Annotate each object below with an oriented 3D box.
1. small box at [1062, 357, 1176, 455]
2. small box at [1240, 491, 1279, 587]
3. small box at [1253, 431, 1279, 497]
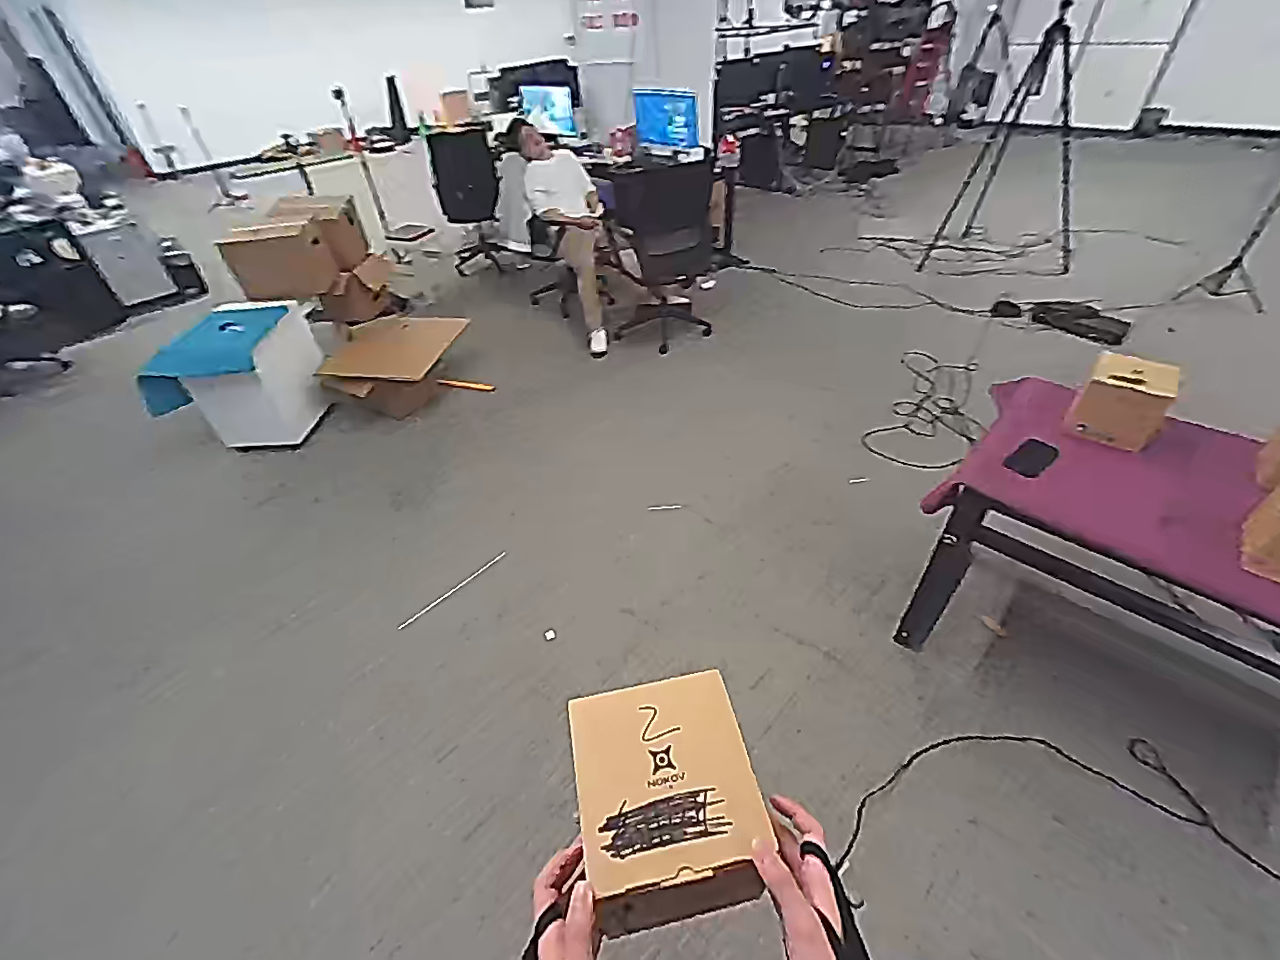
[{"bbox_3d":[1.237,-0.192,1.405,0.168,0.176,0.179,26,49,30],"label":"small box"},{"bbox_3d":[1.322,0.114,1.043,0.168,0.176,0.179,28,50,32],"label":"small box"},{"bbox_3d":[1.539,-0.045,1.211,0.168,0.176,0.179,28,51,33],"label":"small box"}]
